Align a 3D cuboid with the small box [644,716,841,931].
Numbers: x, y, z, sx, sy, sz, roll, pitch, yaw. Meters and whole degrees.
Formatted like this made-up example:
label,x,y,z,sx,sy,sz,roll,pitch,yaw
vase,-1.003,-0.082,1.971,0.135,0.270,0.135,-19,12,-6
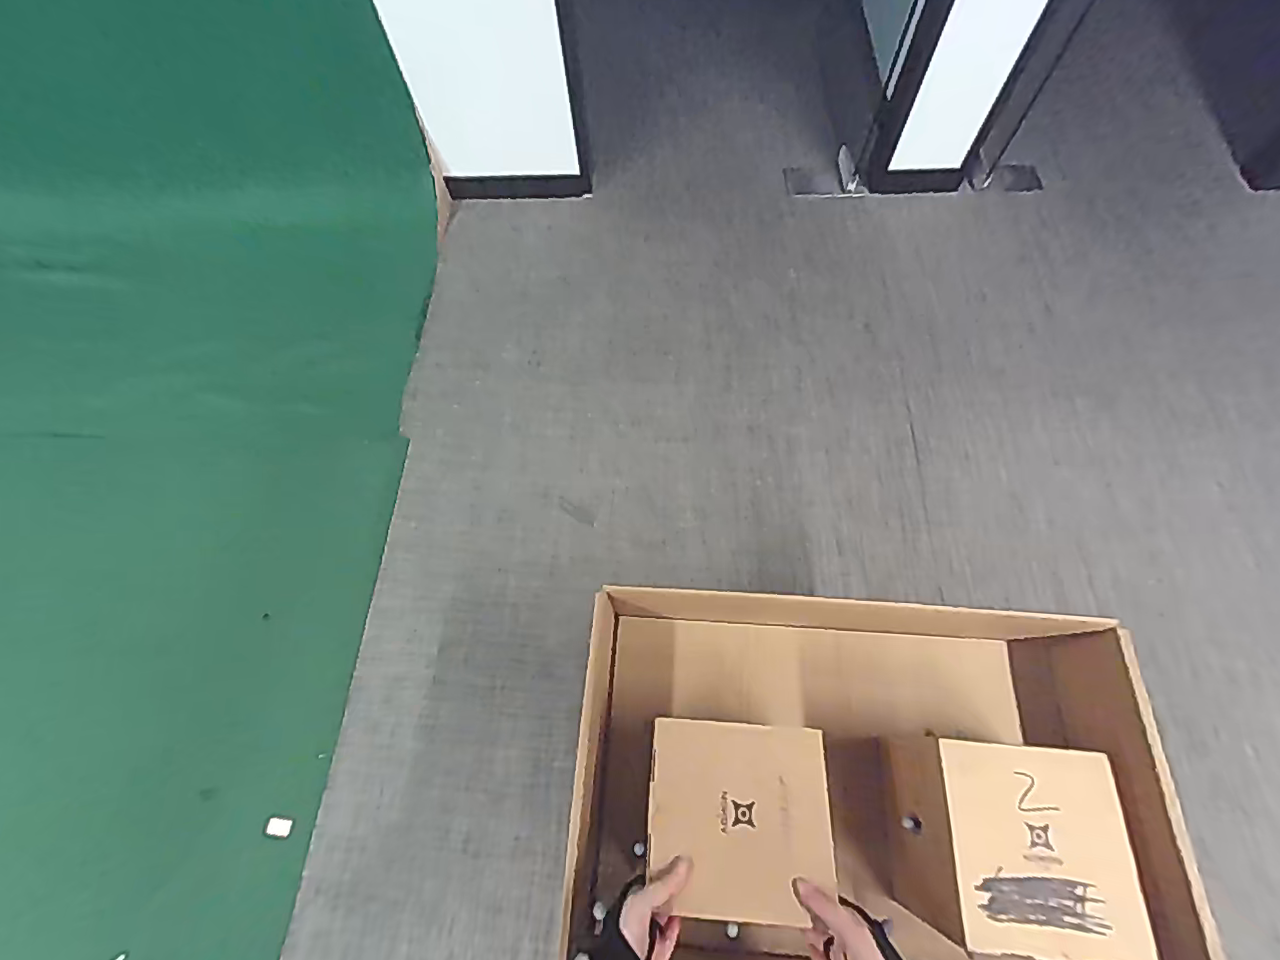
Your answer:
label,x,y,z,sx,sy,sz,roll,pitch,yaw
small box,0.099,0.364,0.587,0.179,0.176,0.168,2,58,4
